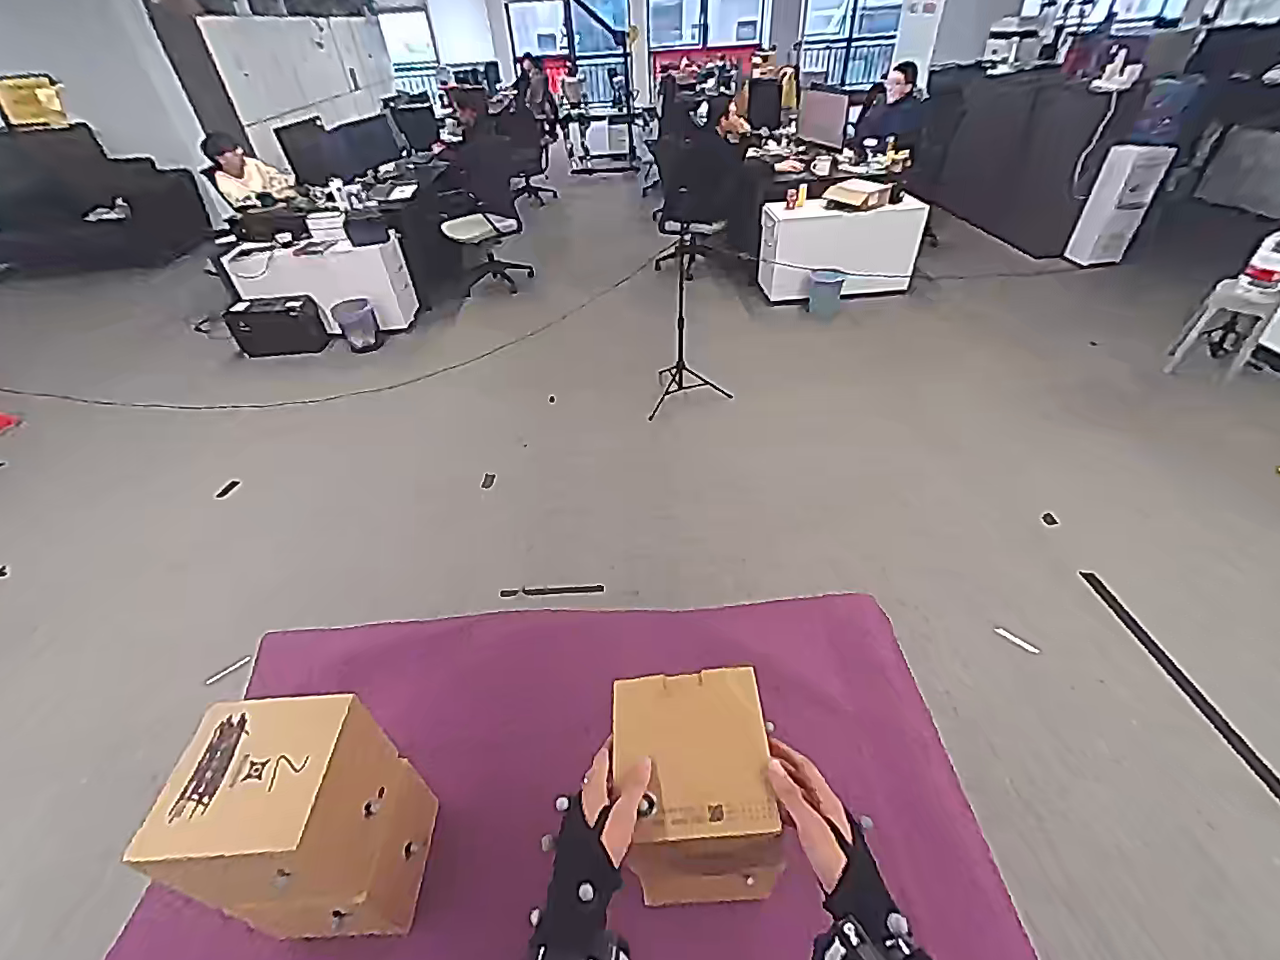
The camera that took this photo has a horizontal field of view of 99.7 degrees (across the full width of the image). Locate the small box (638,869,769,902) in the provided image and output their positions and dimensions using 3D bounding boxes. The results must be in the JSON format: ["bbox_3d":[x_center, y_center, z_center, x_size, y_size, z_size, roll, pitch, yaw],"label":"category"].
[{"bbox_3d":[0.082,0.467,0.754,0.179,0.176,0.168,-3,40,0],"label":"small box"}]

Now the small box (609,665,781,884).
[{"bbox_3d":[0.063,0.339,0.620,0.168,0.179,0.176,-9,43,6],"label":"small box"}]

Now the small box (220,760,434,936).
[{"bbox_3d":[-0.405,0.505,0.743,0.179,0.176,0.168,-3,40,1],"label":"small box"}]
